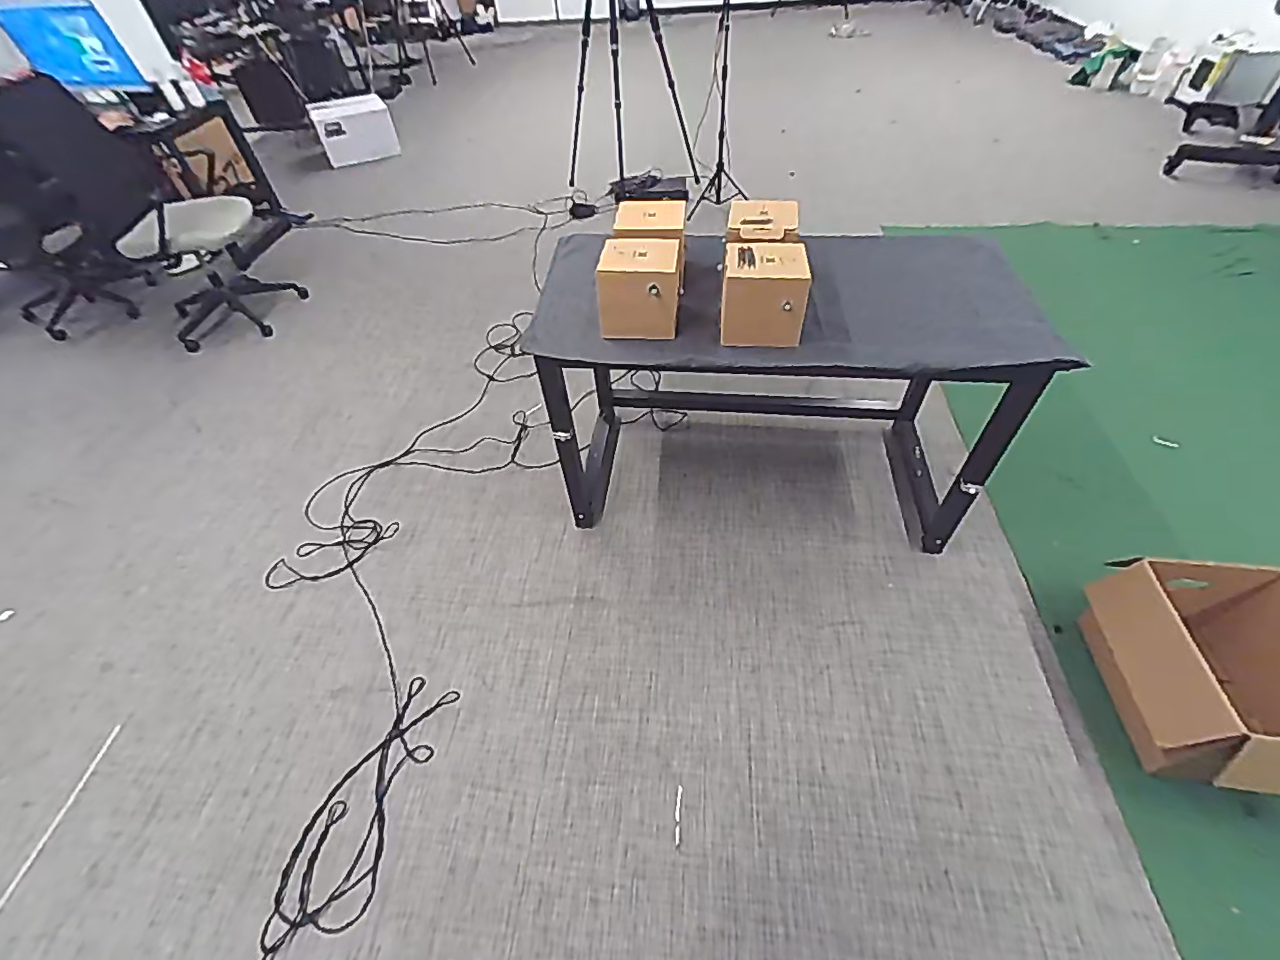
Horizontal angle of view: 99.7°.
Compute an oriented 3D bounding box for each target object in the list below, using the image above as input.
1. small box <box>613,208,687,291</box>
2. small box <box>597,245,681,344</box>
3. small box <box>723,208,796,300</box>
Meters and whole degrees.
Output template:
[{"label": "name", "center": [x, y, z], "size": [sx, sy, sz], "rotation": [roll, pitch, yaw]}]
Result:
[{"label": "small box", "center": [0.032, -0.598, 1.427], "size": [0.179, 0.176, 0.168], "rotation": [1, 48, 6]}, {"label": "small box", "center": [0.003, -0.435, 1.276], "size": [0.179, 0.176, 0.168], "rotation": [3, 47, 6]}, {"label": "small box", "center": [0.306, -0.578, 1.388], "size": [0.168, 0.176, 0.179], "rotation": [6, 48, 9]}]
